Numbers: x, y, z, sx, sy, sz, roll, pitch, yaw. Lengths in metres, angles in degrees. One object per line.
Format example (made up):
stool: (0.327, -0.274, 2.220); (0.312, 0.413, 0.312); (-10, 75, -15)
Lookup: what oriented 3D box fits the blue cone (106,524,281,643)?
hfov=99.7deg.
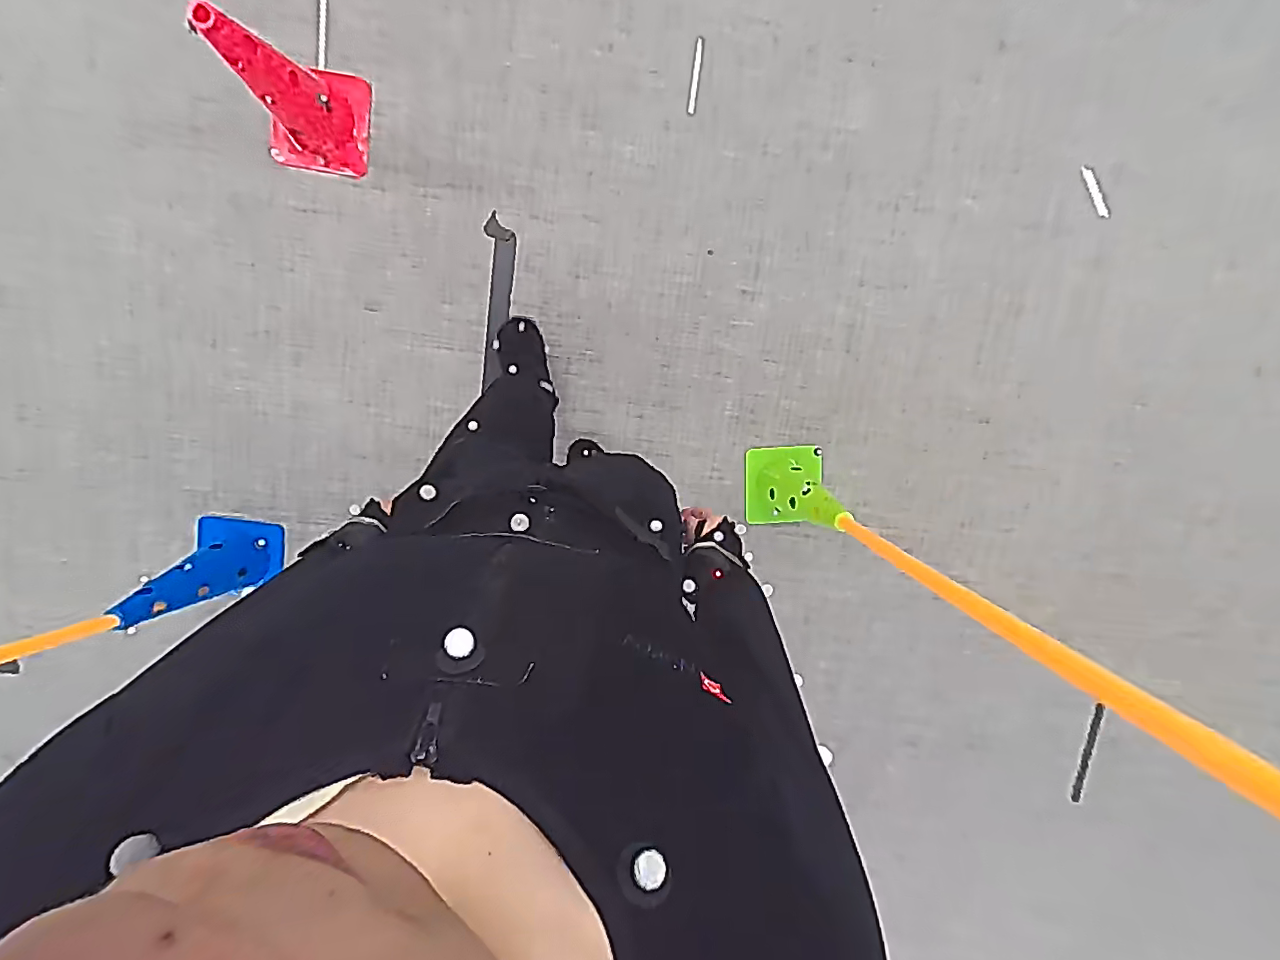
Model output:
blue cone: (-0.970, 0.237, 1.168); (0.193, 0.380, 0.192); (9, 100, -5)

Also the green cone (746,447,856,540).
green cone: (0.381, 0.054, 1.215); (0.200, 0.368, 0.202); (-4, 103, -3)
